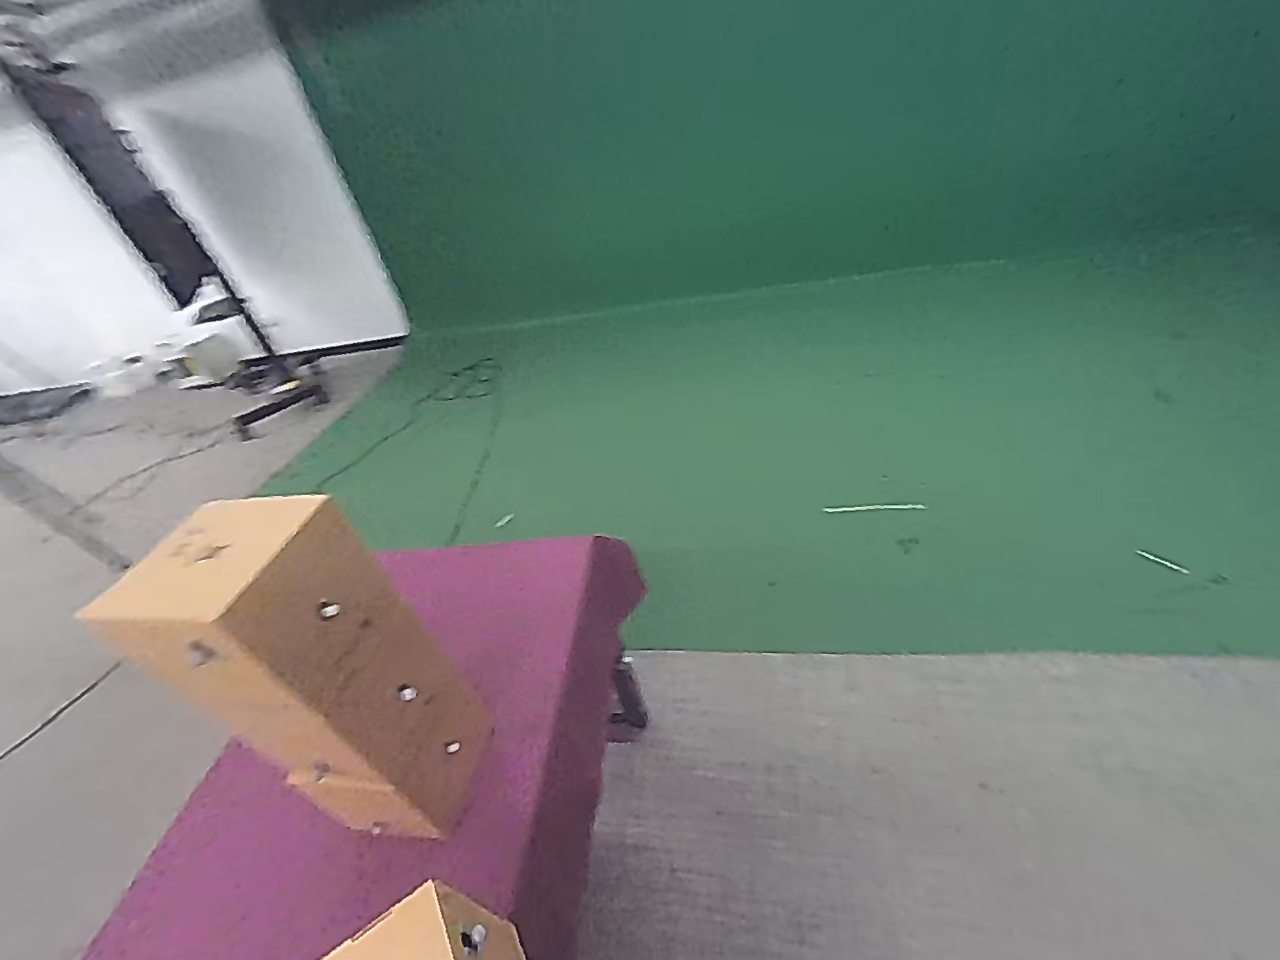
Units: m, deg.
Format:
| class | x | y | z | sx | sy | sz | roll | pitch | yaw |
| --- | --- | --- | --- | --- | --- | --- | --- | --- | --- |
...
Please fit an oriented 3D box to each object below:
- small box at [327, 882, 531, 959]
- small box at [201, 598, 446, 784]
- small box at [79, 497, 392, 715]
| class | x | y | z | sx | sy | sz | roll | pitch | yaw |
| --- | --- | --- | --- | --- | --- | --- | --- | --- | --- |
| small box | -0.148 | 0.423 | 0.356 | 0.168 | 0.176 | 0.179 | -29 | 42 | -17 |
| small box | -0.382 | 0.264 | 0.693 | 0.179 | 0.176 | 0.168 | -1 | 38 | 15 |
| small box | -0.413 | 0.137 | 0.592 | 0.179 | 0.176 | 0.168 | -3 | 38 | 15 |
